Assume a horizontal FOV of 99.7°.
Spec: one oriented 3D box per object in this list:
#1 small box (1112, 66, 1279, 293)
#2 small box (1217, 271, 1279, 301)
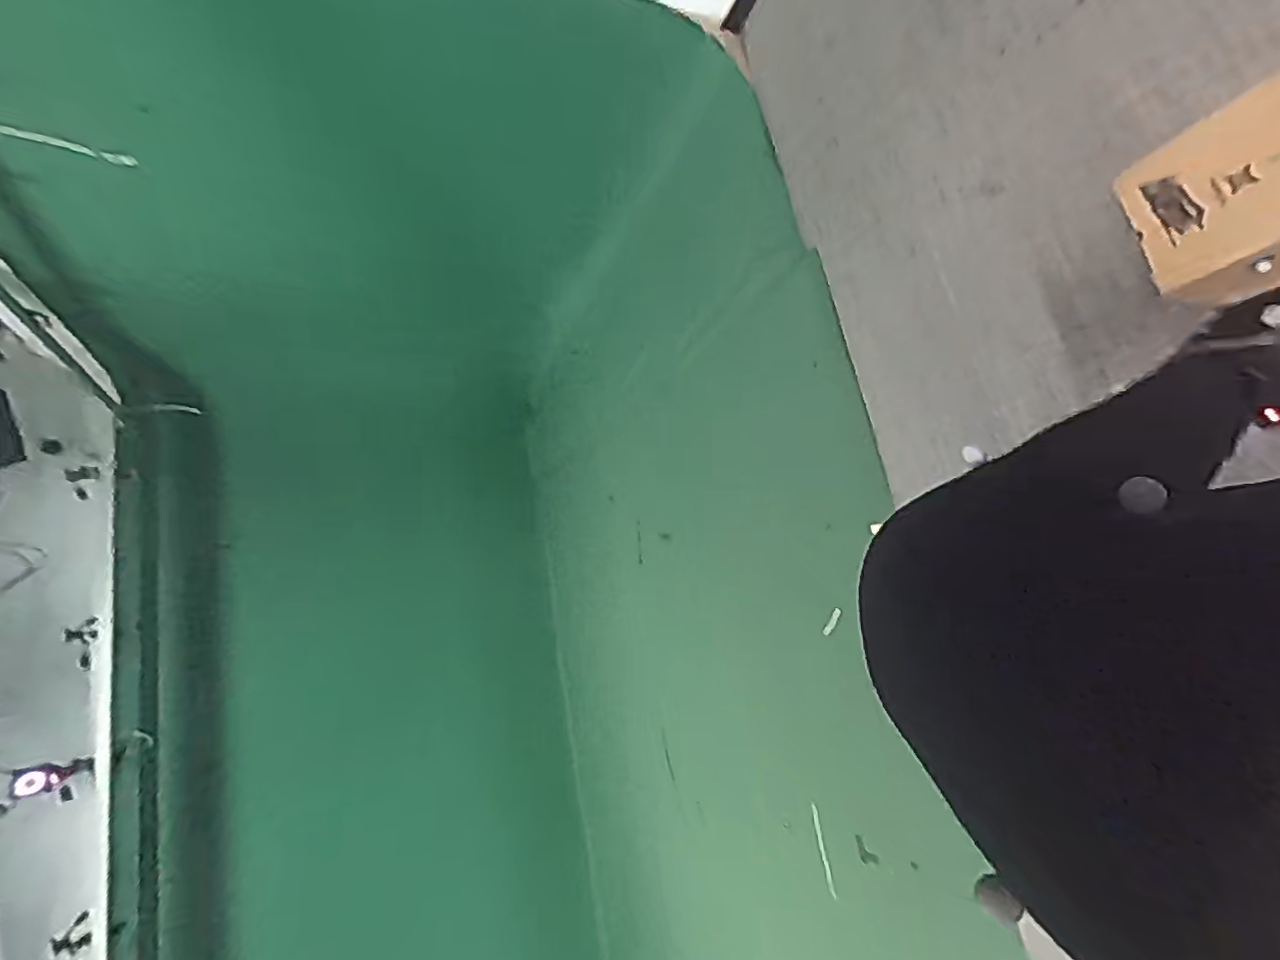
[{"bbox_3d":[0.717,-0.336,0.628,0.179,0.176,0.168,-33,65,61],"label":"small box"},{"bbox_3d":[0.865,-0.348,0.699,0.168,0.176,0.179,-31,69,63],"label":"small box"}]
